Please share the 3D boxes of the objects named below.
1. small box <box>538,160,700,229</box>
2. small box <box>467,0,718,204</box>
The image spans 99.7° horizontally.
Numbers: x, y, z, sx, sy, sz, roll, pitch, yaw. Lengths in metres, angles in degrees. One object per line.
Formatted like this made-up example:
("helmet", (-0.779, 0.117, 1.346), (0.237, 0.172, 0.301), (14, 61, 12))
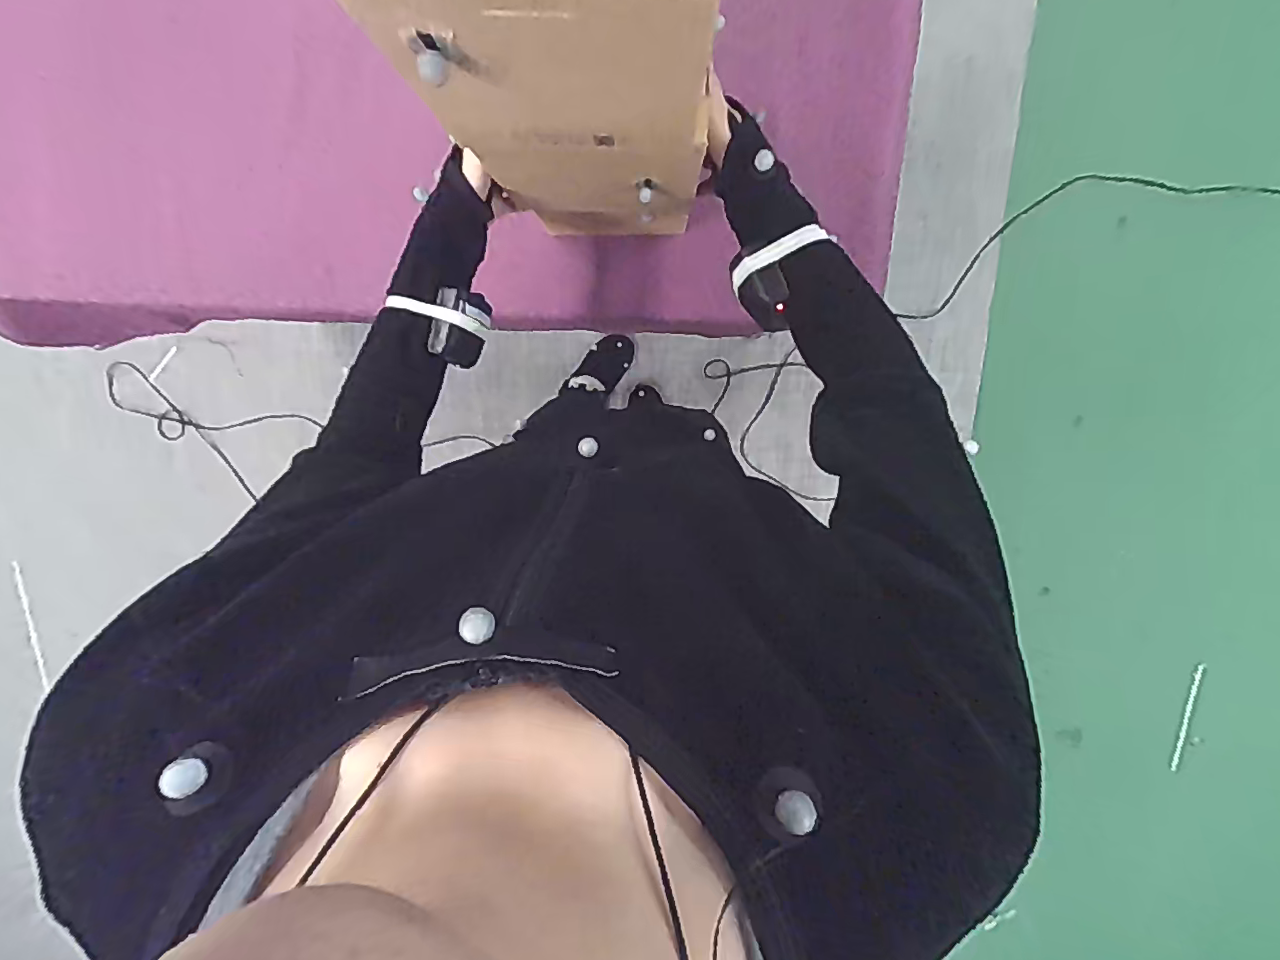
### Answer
("small box", (-0.027, -0.391, 0.607), (0.179, 0.176, 0.168), (0, 100, 1))
("small box", (-0.032, -0.344, 0.450), (0.179, 0.176, 0.168), (2, 100, 1))
